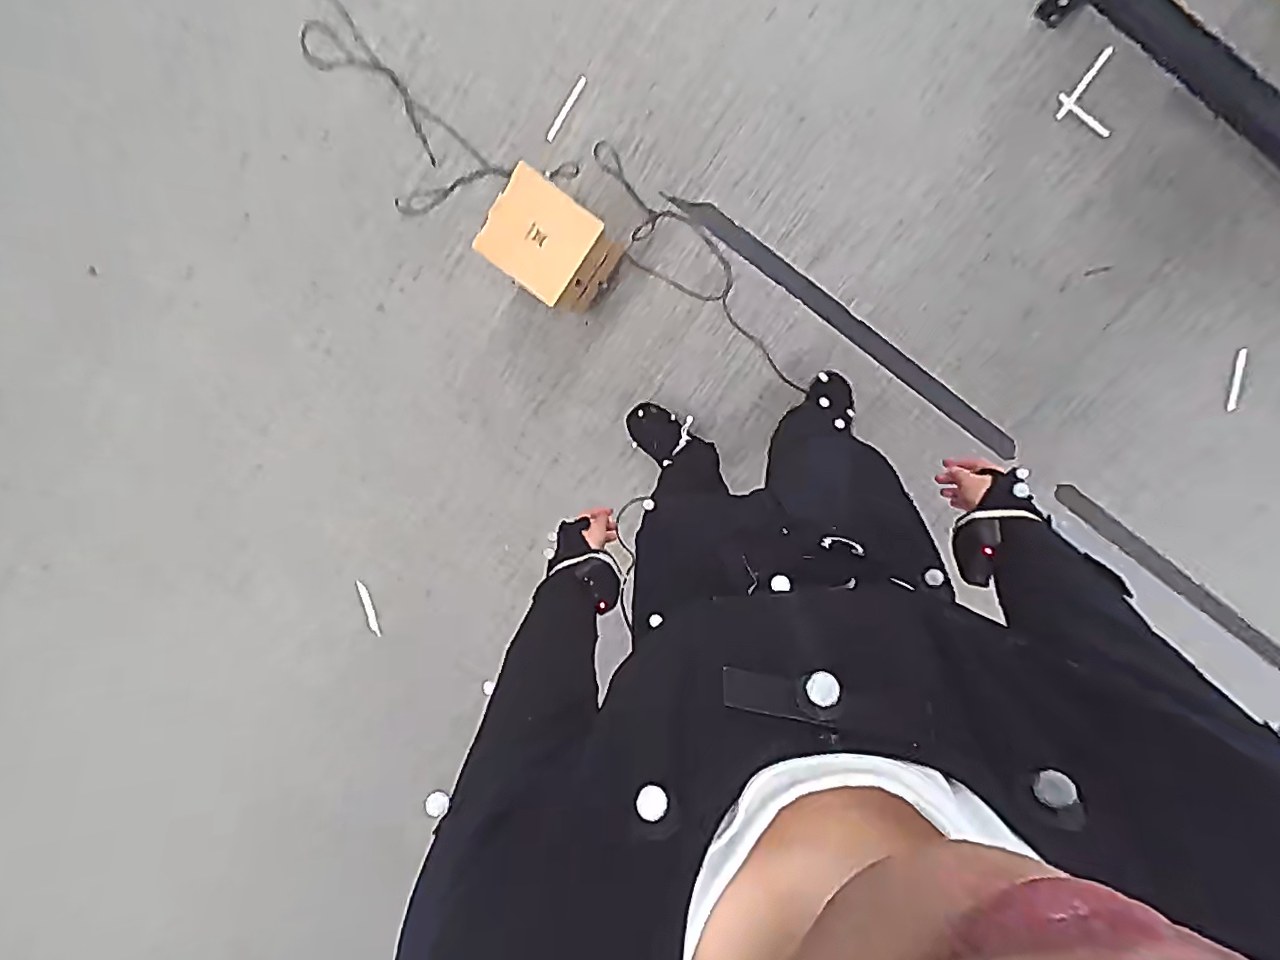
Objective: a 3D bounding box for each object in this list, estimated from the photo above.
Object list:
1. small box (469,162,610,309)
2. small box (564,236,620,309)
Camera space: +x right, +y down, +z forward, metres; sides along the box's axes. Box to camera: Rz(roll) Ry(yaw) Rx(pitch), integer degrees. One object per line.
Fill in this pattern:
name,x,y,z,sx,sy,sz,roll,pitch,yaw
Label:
small box,-0.172,-0.433,0.989,0.179,0.176,0.168,35,104,-5
small box,-0.161,-0.476,1.145,0.179,0.176,0.168,35,105,-7
